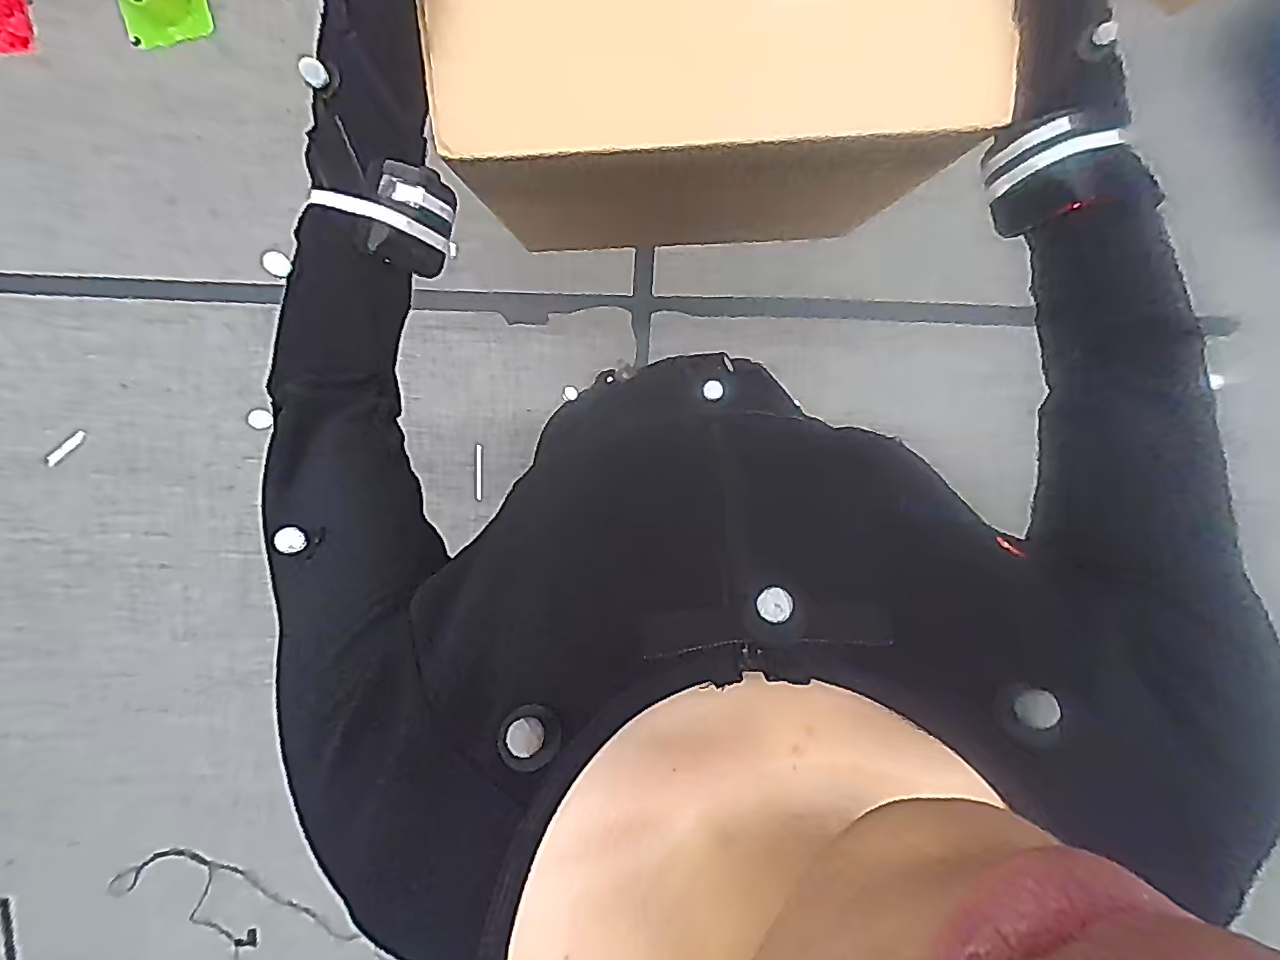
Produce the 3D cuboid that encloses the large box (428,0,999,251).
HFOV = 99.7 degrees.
[{"bbox_3d":[0.044,-0.424,0.509,0.408,0.320,0.320,-3,101,0],"label":"large box"}]
